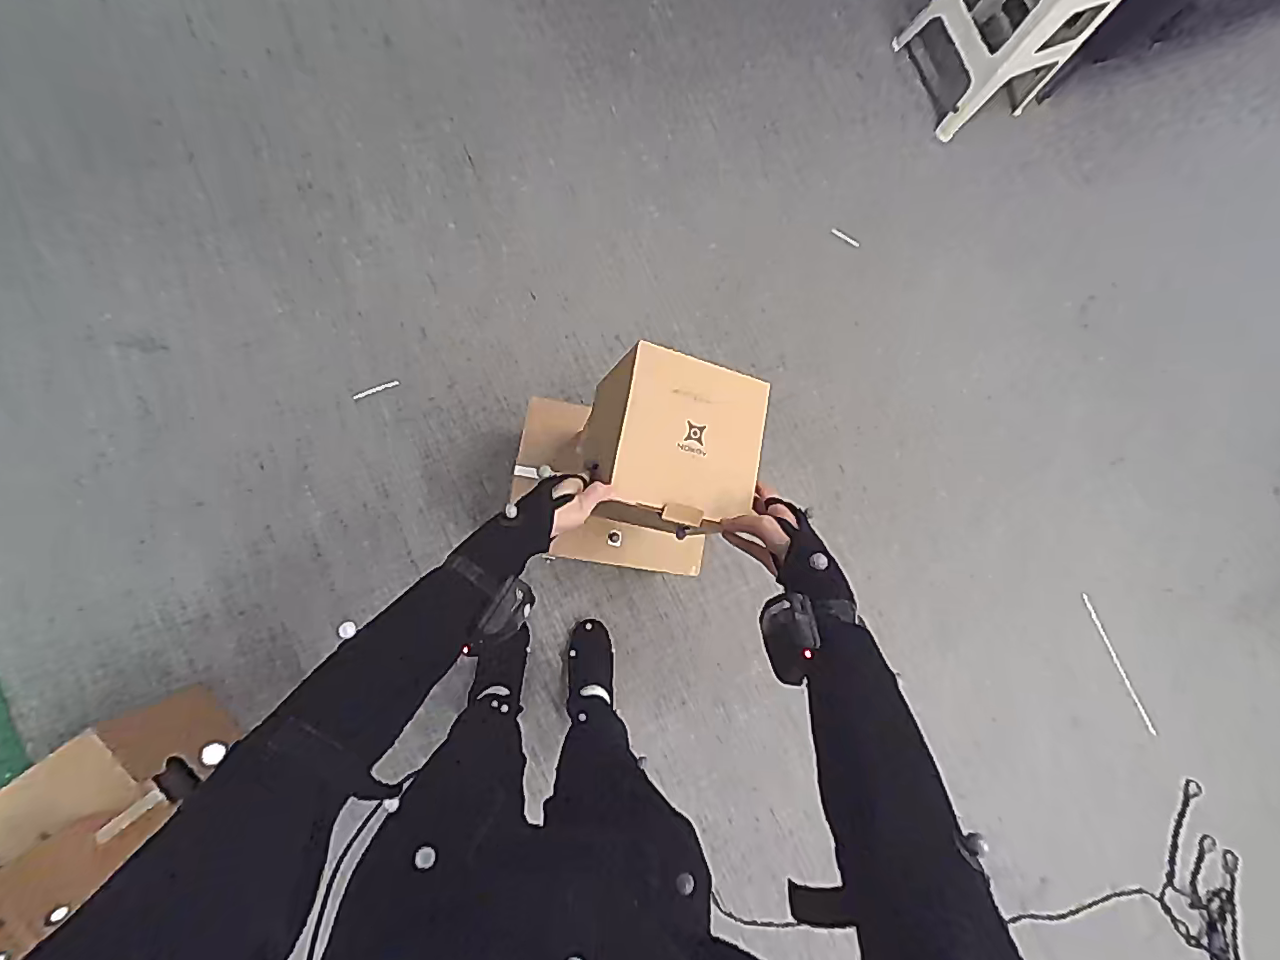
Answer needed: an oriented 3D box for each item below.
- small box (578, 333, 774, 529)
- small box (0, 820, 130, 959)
[{"bbox_3d":[0.034,-0.042,0.649,0.168,0.176,0.179,16,77,-19],"label":"small box"},{"bbox_3d":[-0.865,0.615,0.731,0.168,0.176,0.179,-33,91,-15],"label":"small box"}]
